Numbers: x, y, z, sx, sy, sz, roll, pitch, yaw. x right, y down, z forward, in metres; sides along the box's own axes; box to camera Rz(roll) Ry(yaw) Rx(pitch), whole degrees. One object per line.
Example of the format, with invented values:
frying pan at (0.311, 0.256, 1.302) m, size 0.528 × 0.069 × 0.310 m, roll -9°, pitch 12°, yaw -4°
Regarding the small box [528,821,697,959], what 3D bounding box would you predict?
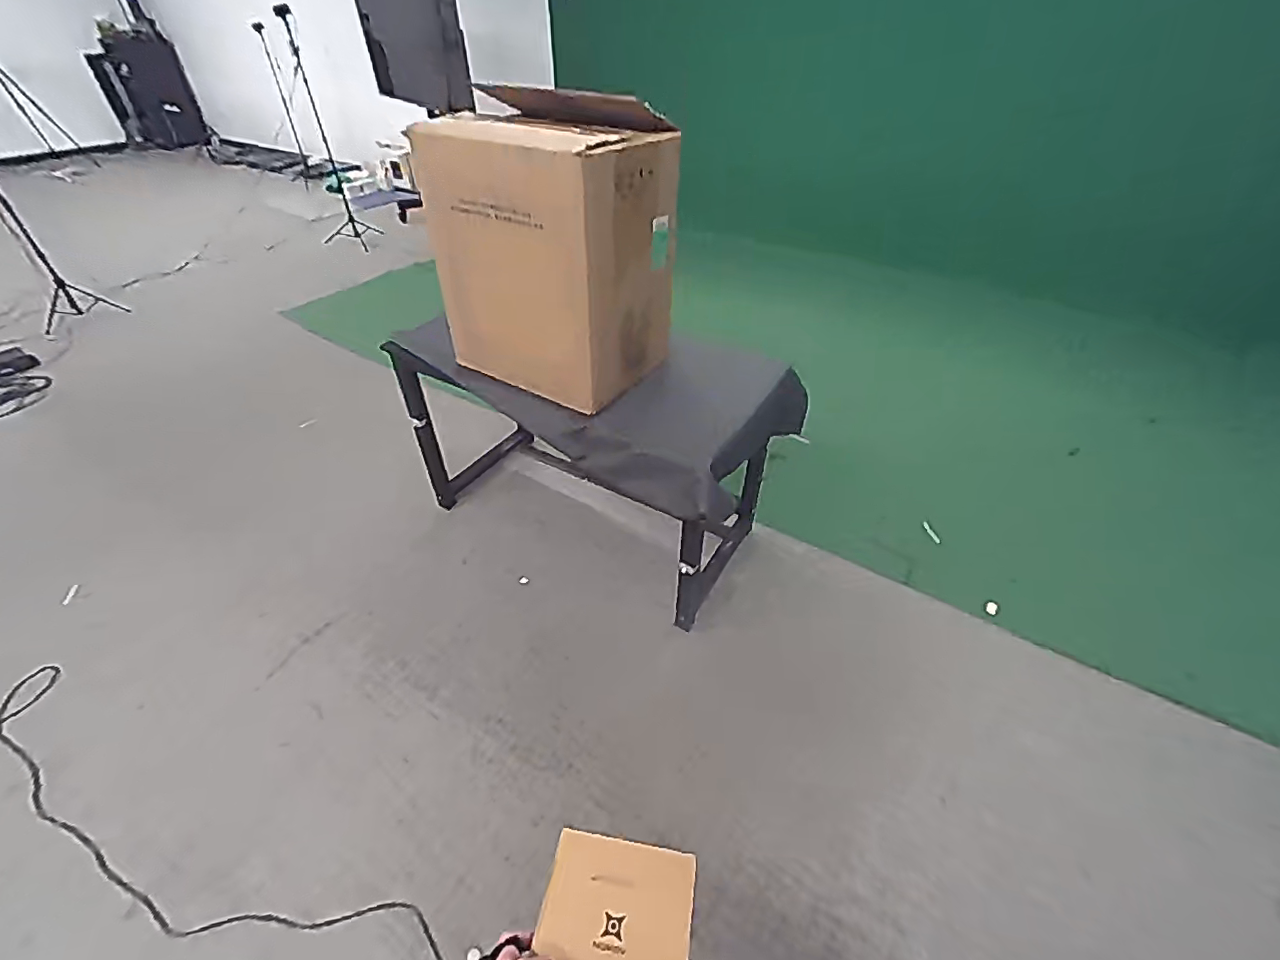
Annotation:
small box at (-0.029, 0.541, 0.629) m, size 0.168 × 0.176 × 0.179 m, roll 8°, pitch 36°, yaw 7°
